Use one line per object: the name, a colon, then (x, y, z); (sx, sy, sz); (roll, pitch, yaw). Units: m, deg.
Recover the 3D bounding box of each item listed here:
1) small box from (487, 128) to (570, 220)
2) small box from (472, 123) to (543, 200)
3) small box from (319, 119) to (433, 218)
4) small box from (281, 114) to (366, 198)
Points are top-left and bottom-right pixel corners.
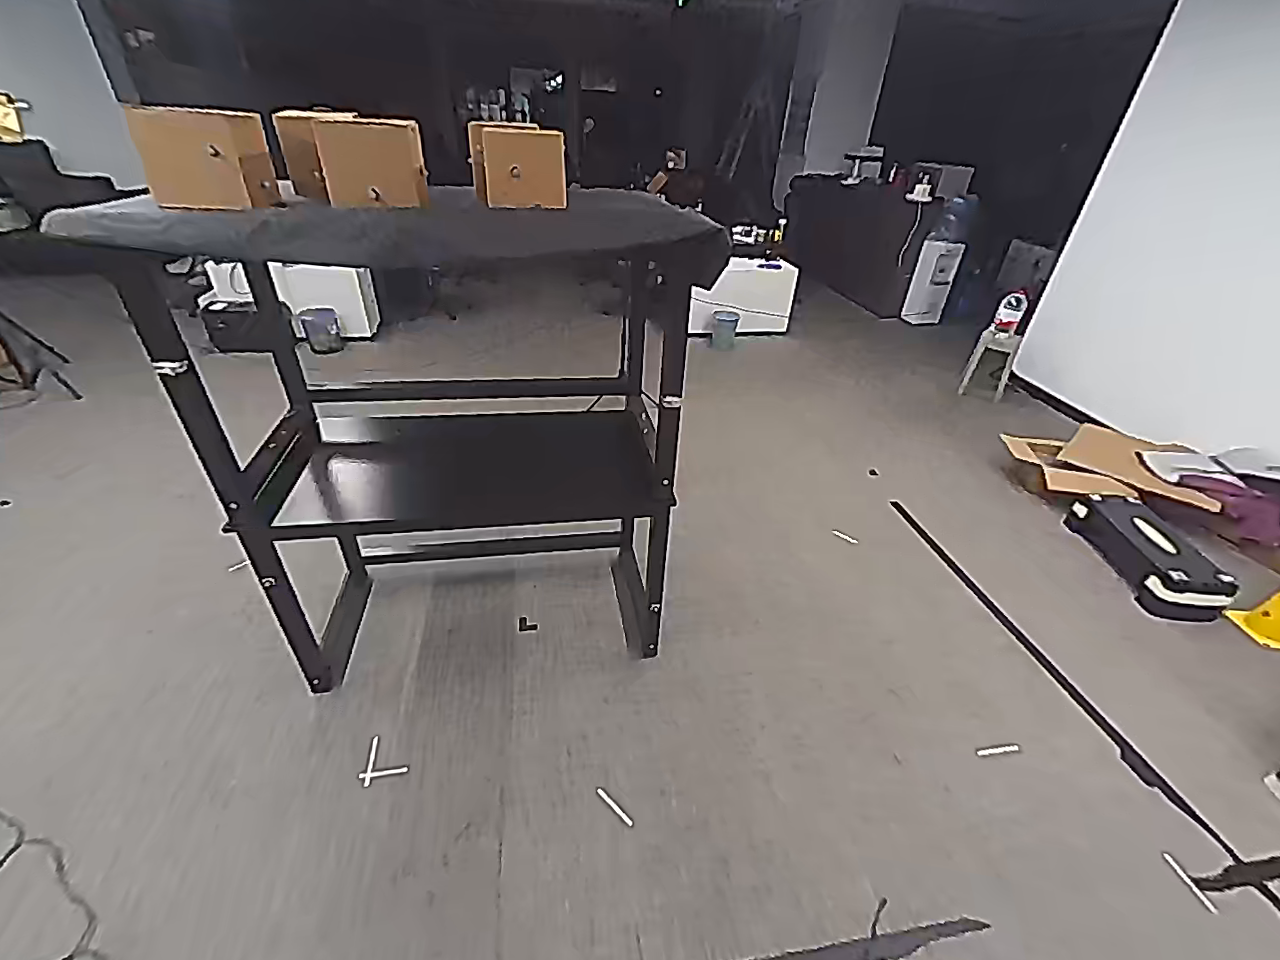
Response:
small box: (-0.250, -0.690, 1.222); (0.168, 0.176, 0.179); (-5, 34, -11)
small box: (-0.342, -0.849, 1.445); (0.179, 0.176, 0.168); (-3, 36, -9)
small box: (-0.554, -0.669, 1.165); (0.179, 0.176, 0.168); (-3, 34, -11)
small box: (-0.764, -0.811, 1.355); (0.168, 0.176, 0.179); (-8, 36, -14)
